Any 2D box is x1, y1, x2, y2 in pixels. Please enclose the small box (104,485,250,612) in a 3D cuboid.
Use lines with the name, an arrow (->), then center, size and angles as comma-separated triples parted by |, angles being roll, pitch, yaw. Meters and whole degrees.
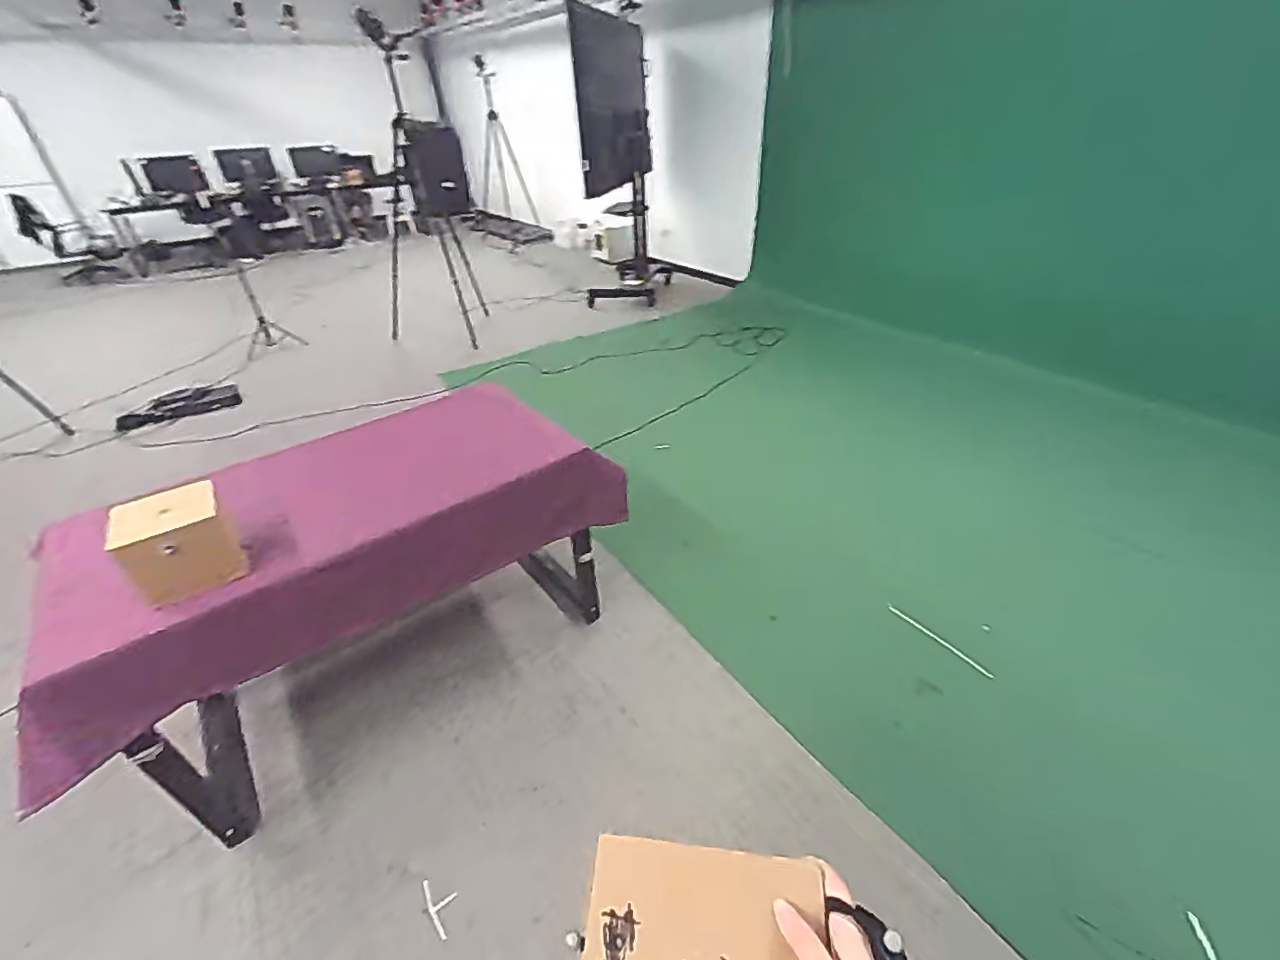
small box -> -0.959, 0.142, 1.133 | 0.179, 0.176, 0.168 | -23, 40, -28
